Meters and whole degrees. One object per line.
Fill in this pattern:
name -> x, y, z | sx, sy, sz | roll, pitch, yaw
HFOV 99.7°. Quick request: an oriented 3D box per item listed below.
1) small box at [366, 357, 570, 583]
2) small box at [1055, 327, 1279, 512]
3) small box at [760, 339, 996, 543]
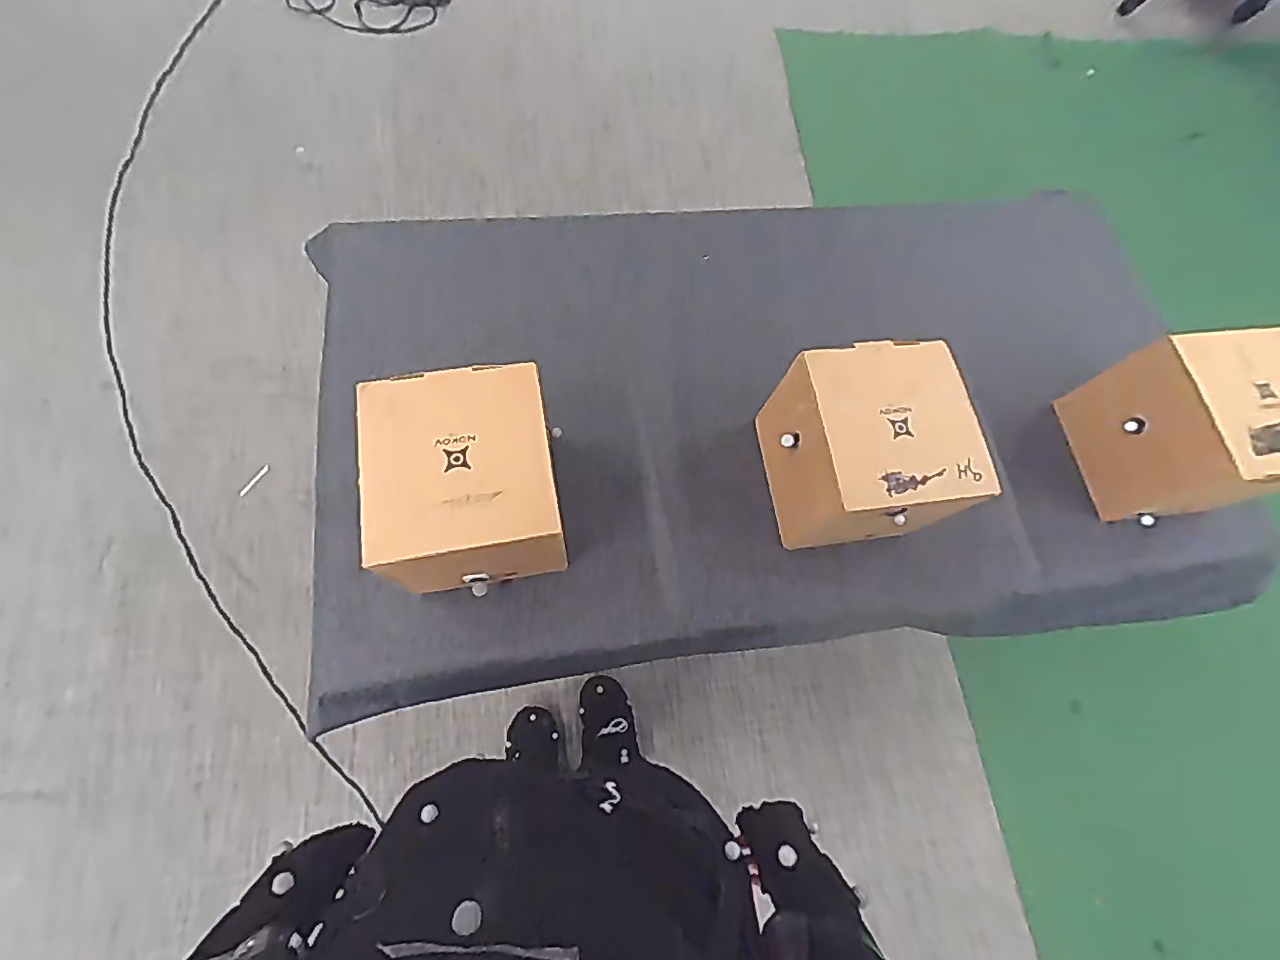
small box -> -0.167, -0.002, 0.563 | 0.168, 0.176, 0.179 | -9, 73, -8
small box -> 0.674, -0.064, 0.667 | 0.168, 0.176, 0.179 | -5, 71, -7
small box -> 0.250, -0.038, 0.619 | 0.168, 0.176, 0.179 | -6, 71, -7
